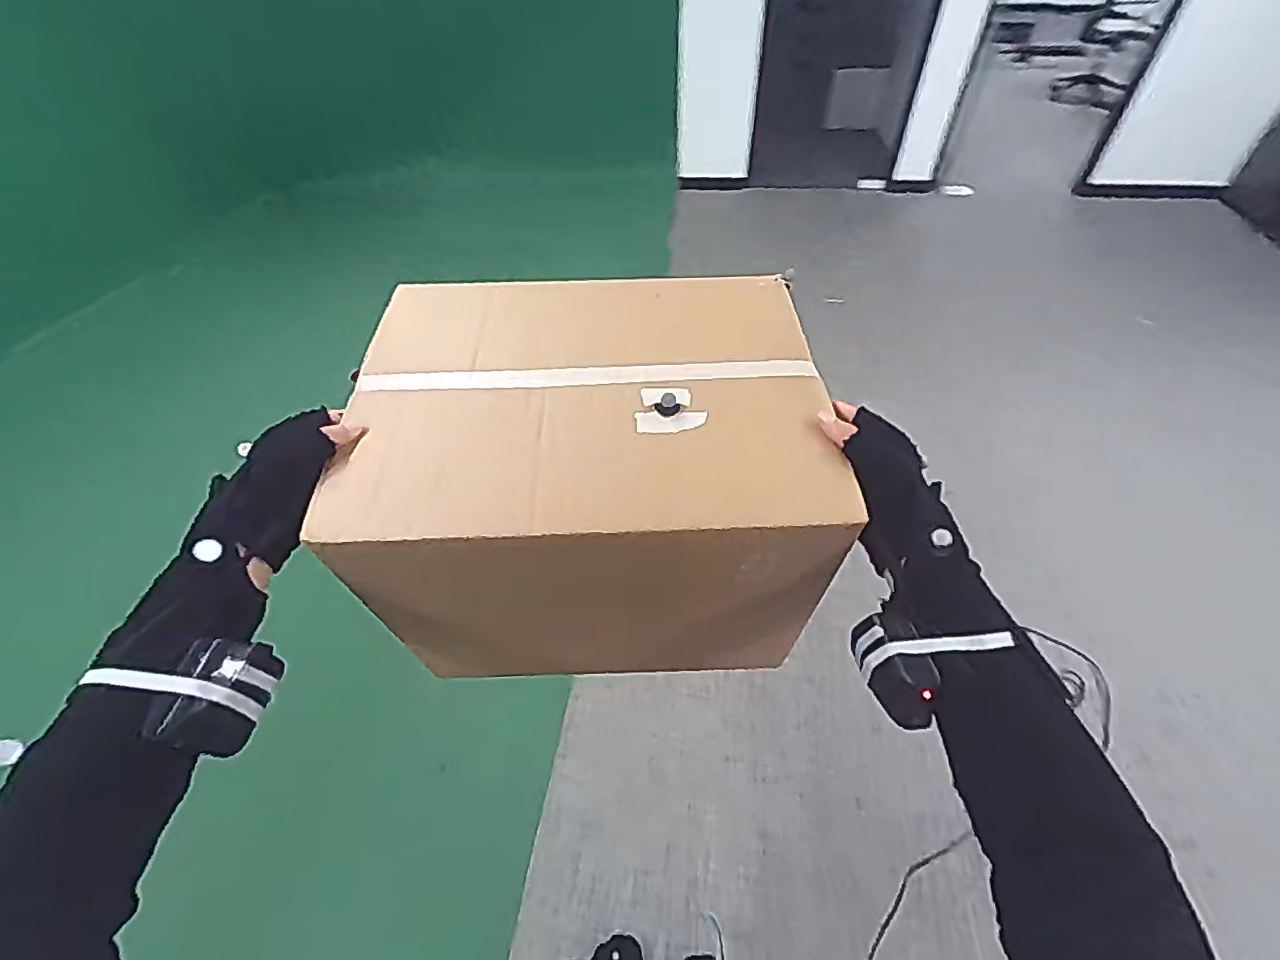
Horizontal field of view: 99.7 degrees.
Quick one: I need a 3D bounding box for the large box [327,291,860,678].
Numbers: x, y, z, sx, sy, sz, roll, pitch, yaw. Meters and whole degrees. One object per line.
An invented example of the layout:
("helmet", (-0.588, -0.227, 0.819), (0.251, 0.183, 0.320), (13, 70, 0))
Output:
("large box", (-0.039, 0.012, 0.604), (0.408, 0.320, 0.320), (-1, 53, -1))
